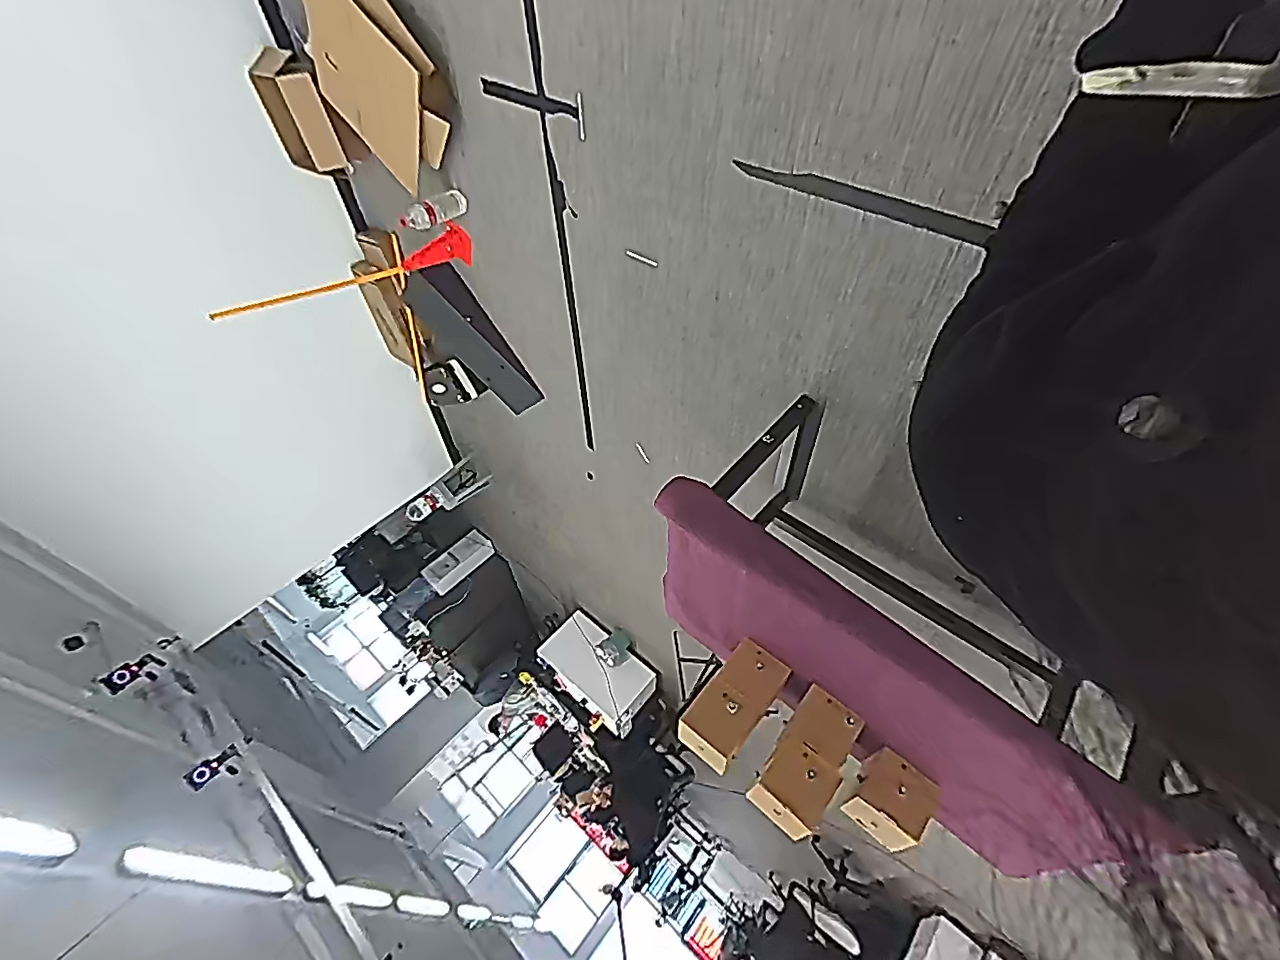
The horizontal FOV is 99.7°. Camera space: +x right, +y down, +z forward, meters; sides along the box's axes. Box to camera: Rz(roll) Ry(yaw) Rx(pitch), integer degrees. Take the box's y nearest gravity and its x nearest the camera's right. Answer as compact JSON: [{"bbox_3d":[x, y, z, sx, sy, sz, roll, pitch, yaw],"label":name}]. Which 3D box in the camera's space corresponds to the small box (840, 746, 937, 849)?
[{"bbox_3d":[0.689,0.873,1.493,0.168,0.176,0.179,34,146,25],"label":"small box"}]

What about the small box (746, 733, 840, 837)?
[{"bbox_3d":[0.416,0.828,1.472,0.168,0.176,0.179,34,147,23],"label":"small box"}]

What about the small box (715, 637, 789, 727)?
[{"bbox_3d":[0.337,0.622,1.667,0.168,0.176,0.179,33,147,25],"label":"small box"}]

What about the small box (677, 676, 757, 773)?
[{"bbox_3d":[0.227,0.717,1.594,0.168,0.176,0.179,31,145,27],"label":"small box"}]

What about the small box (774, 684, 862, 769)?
[{"bbox_3d":[0.512,0.723,1.553,0.168,0.176,0.179,33,148,26],"label":"small box"}]
